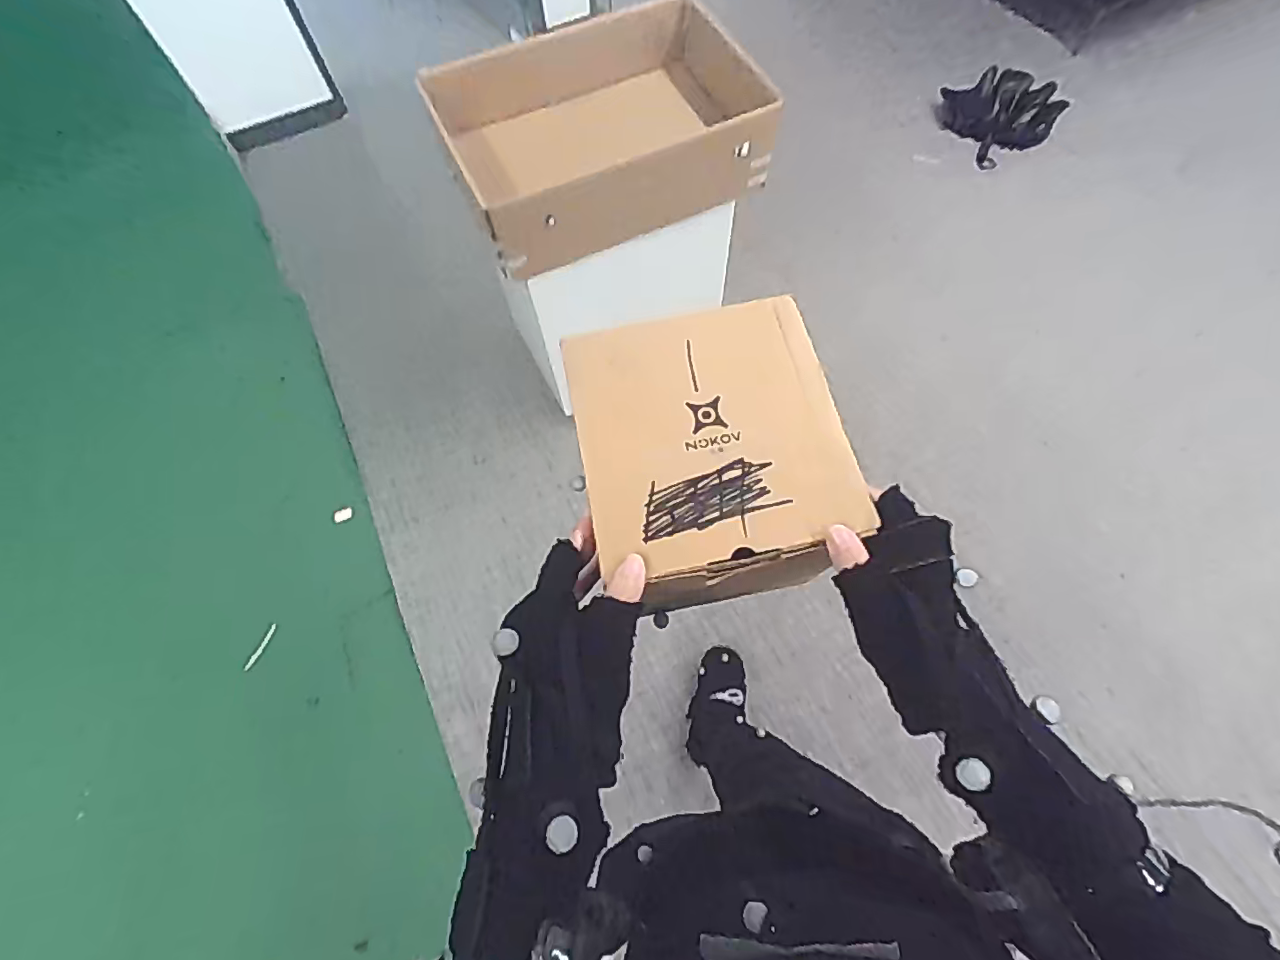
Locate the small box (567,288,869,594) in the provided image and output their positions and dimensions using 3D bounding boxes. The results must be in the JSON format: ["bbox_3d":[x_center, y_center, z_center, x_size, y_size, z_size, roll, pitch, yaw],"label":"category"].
[{"bbox_3d":[0.047,-0.014,0.423,0.168,0.176,0.179,-11,70,-2],"label":"small box"}]
